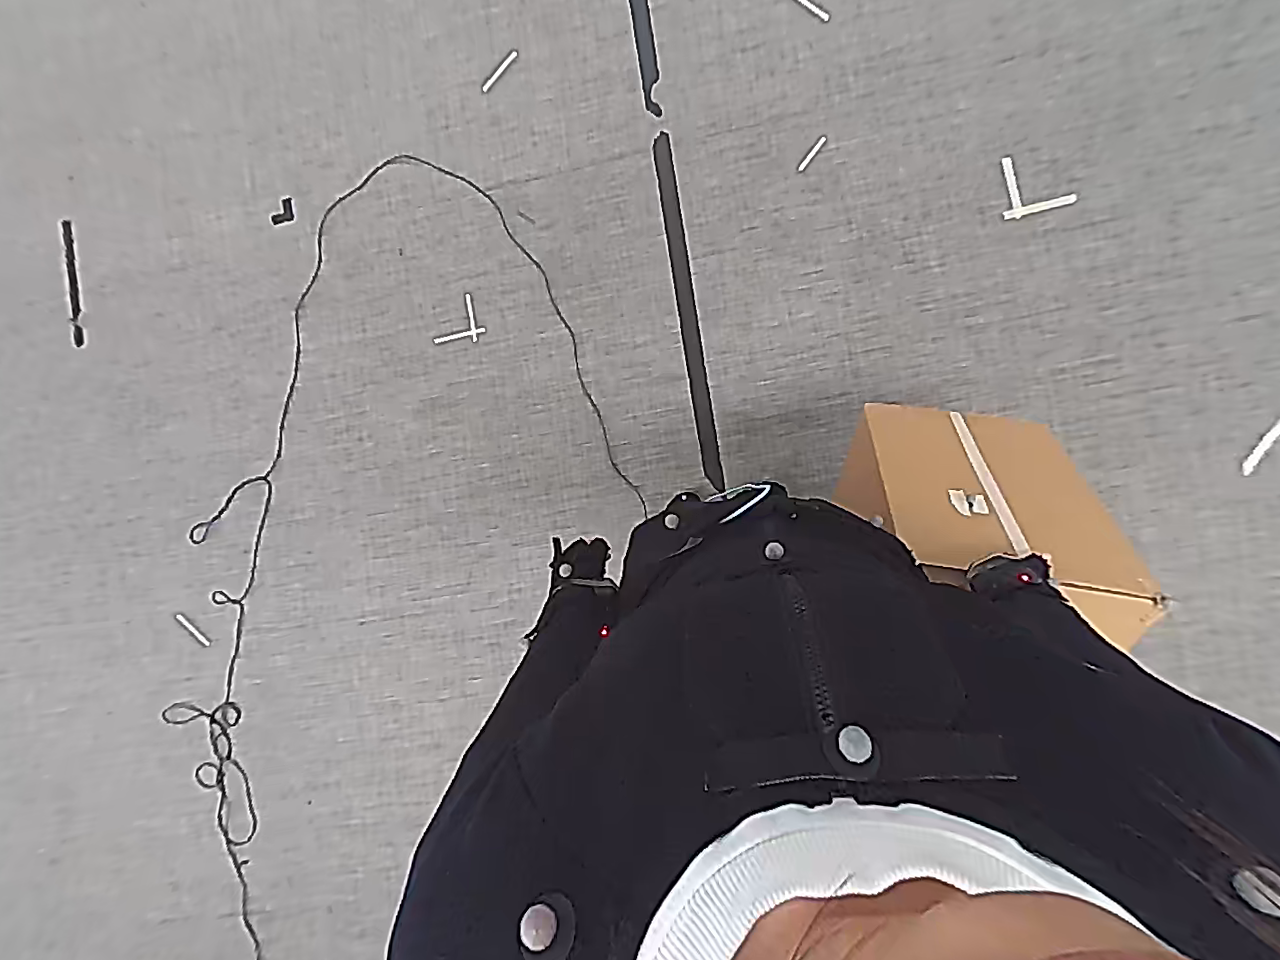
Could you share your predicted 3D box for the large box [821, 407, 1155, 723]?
[{"bbox_3d":[0.511,0.125,0.920,0.320,0.408,0.320,7,131,9],"label":"large box"}]
